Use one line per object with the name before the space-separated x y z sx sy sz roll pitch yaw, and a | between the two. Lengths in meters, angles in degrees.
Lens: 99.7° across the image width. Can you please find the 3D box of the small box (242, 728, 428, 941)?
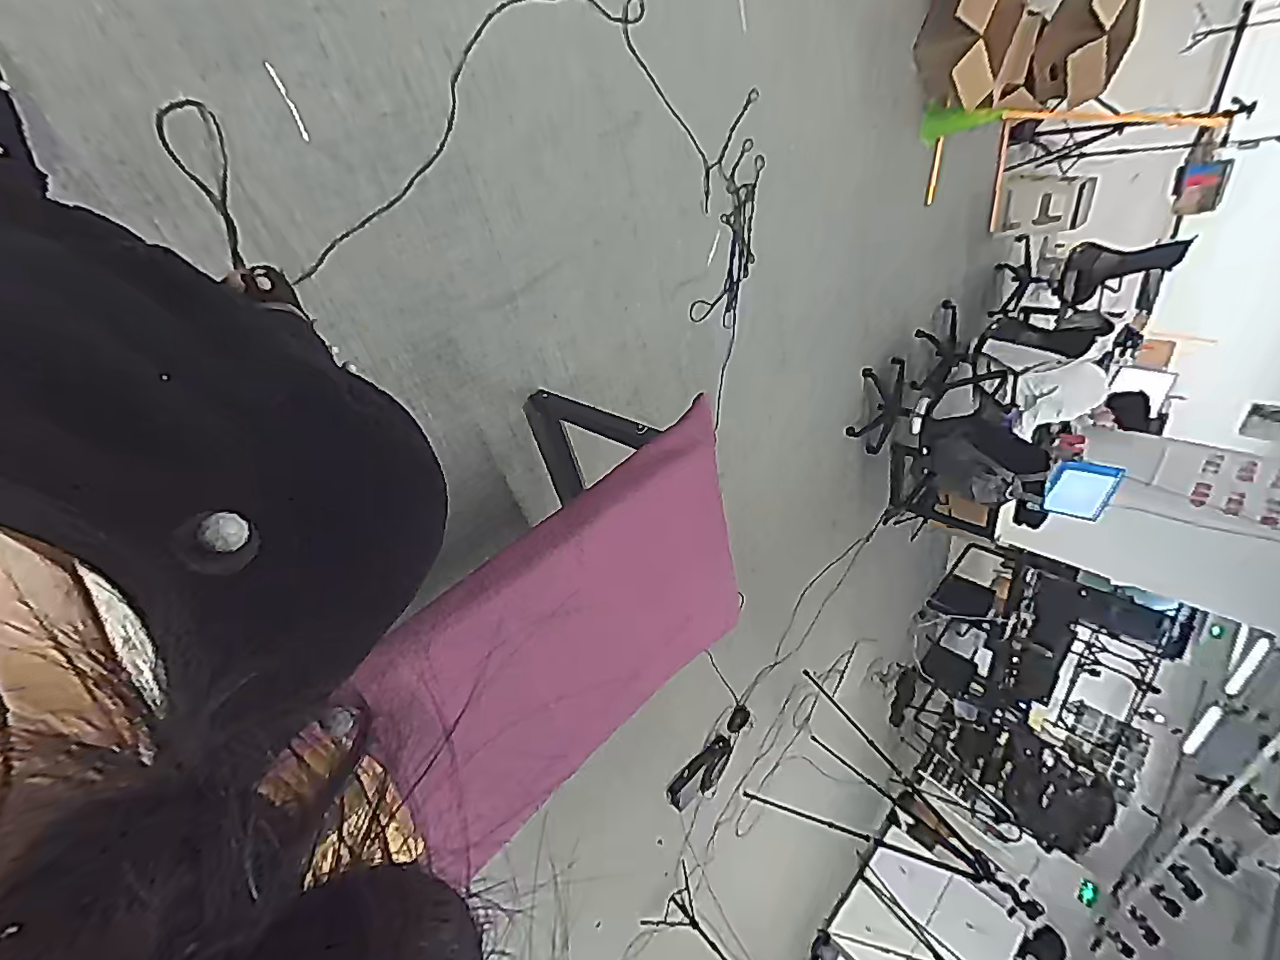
small box | -0.463 0.523 0.816 0.179 0.176 0.168 -39 129 -27
